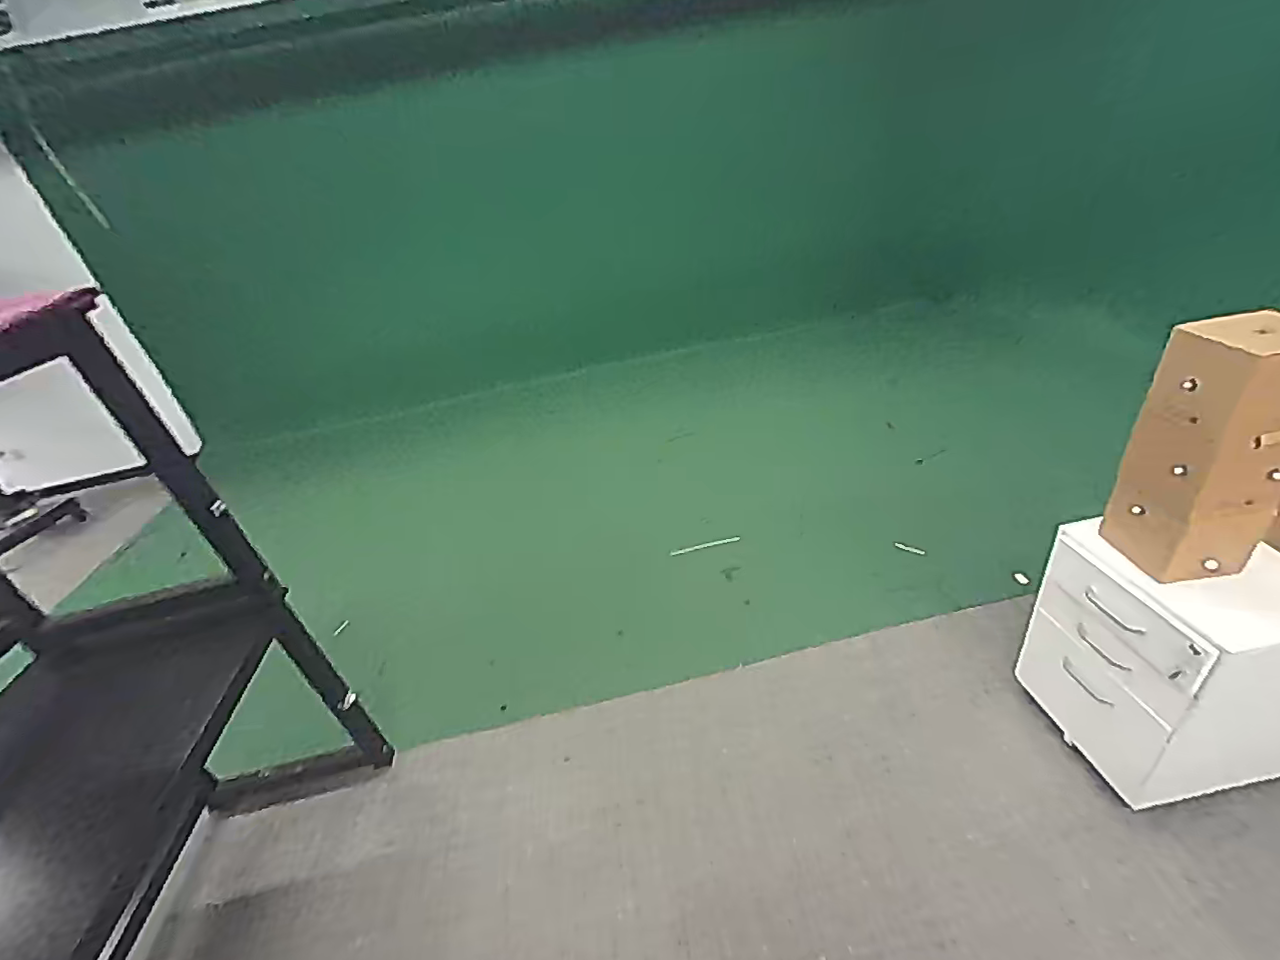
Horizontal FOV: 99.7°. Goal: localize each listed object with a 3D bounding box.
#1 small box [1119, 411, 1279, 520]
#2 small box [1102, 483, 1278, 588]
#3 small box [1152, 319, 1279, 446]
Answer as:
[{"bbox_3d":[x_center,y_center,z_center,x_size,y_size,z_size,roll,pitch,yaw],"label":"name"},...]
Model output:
[{"bbox_3d":[1.105,-0.034,1.056,0.168,0.176,0.179,-8,31,2],"label":"small box"},{"bbox_3d":[1.135,0.103,1.138,0.168,0.176,0.179,-8,32,3],"label":"small box"},{"bbox_3d":[1.083,-0.173,0.971,0.179,0.176,0.168,-8,32,2],"label":"small box"}]
